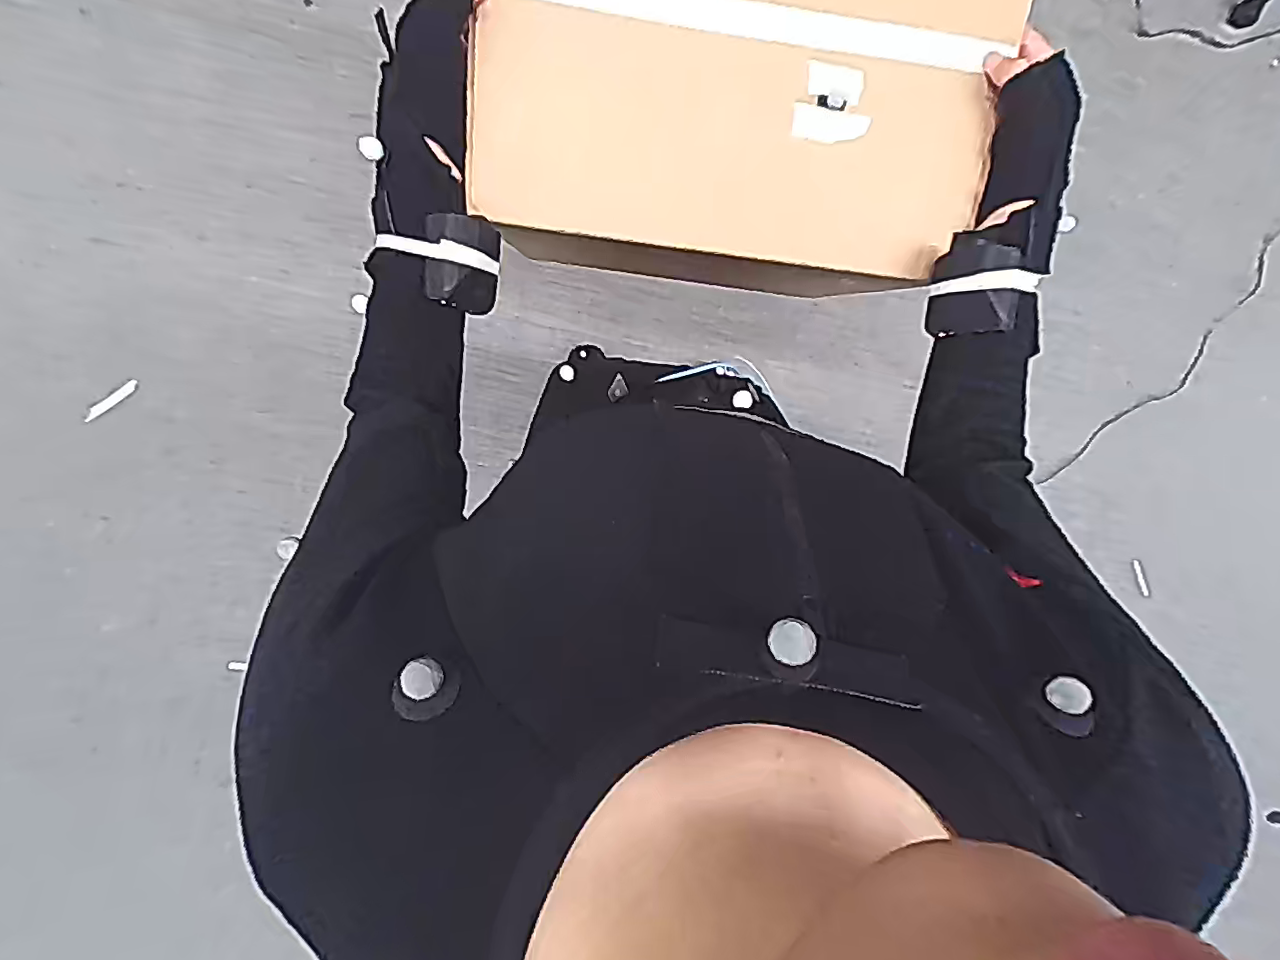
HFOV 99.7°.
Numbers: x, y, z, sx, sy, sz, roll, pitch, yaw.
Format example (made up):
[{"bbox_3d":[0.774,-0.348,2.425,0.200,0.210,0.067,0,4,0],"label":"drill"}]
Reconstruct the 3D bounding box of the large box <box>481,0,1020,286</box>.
[{"bbox_3d":[0.073,-0.385,0.544,0.408,0.320,0.320,5,108,-7],"label":"large box"}]
